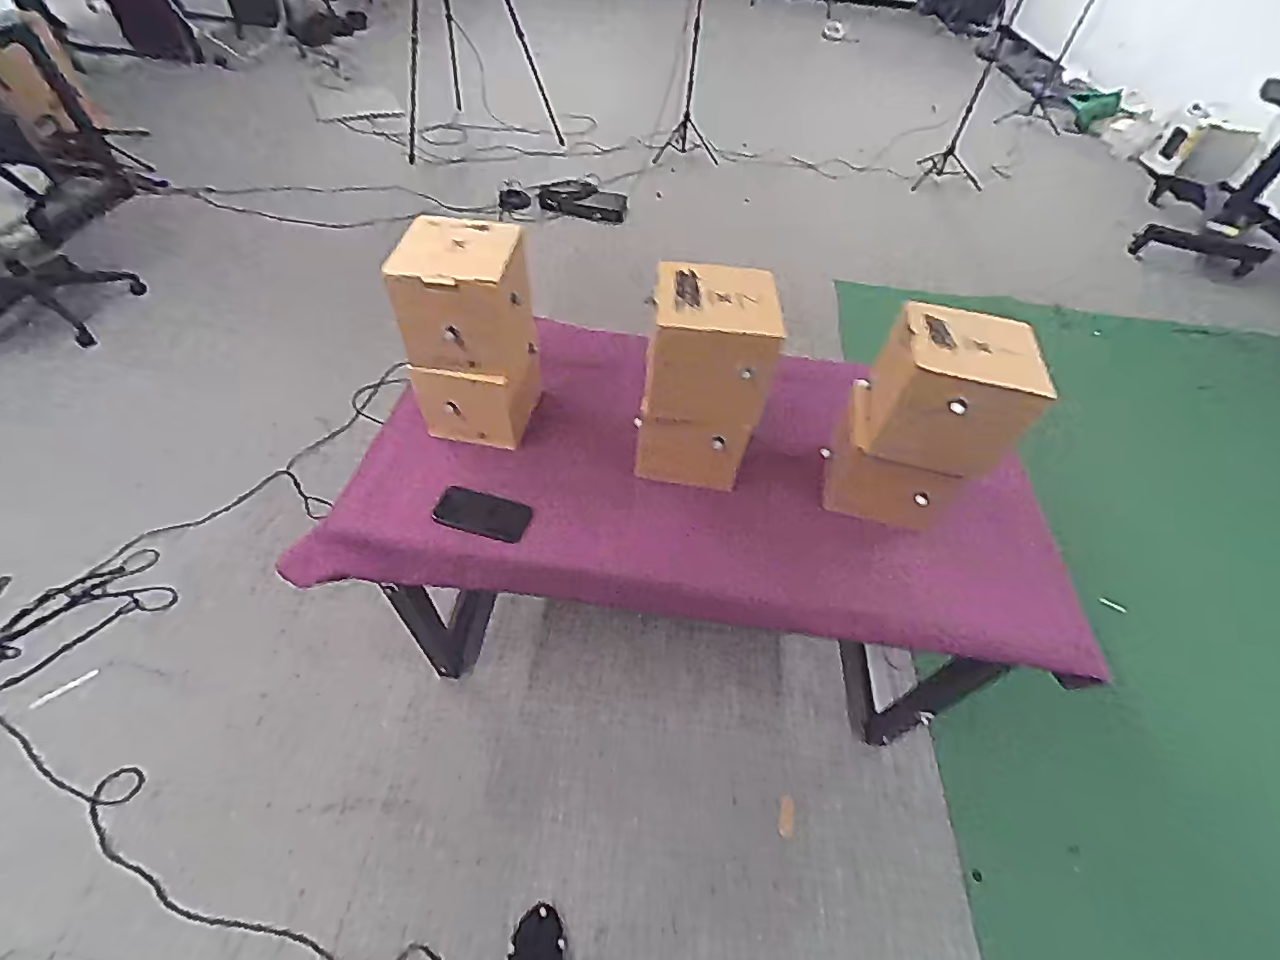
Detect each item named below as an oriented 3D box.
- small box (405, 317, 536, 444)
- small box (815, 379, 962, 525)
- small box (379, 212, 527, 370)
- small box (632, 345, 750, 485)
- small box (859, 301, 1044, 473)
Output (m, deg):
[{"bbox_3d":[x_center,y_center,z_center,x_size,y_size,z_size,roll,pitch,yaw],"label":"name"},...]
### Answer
[{"bbox_3d":[-0.295,-0.189,0.989,0.168,0.176,0.179,10,51,3],"label":"small box"},{"bbox_3d":[0.420,-0.043,0.933,0.179,0.176,0.168,14,51,7],"label":"small box"},{"bbox_3d":[-0.283,-0.298,0.867,0.168,0.176,0.179,6,52,-1],"label":"small box"},{"bbox_3d":[0.087,-0.110,0.957,0.179,0.176,0.168,9,51,3],"label":"small box"},{"bbox_3d":[0.437,-0.132,0.796,0.179,0.176,0.168,14,51,6],"label":"small box"}]
